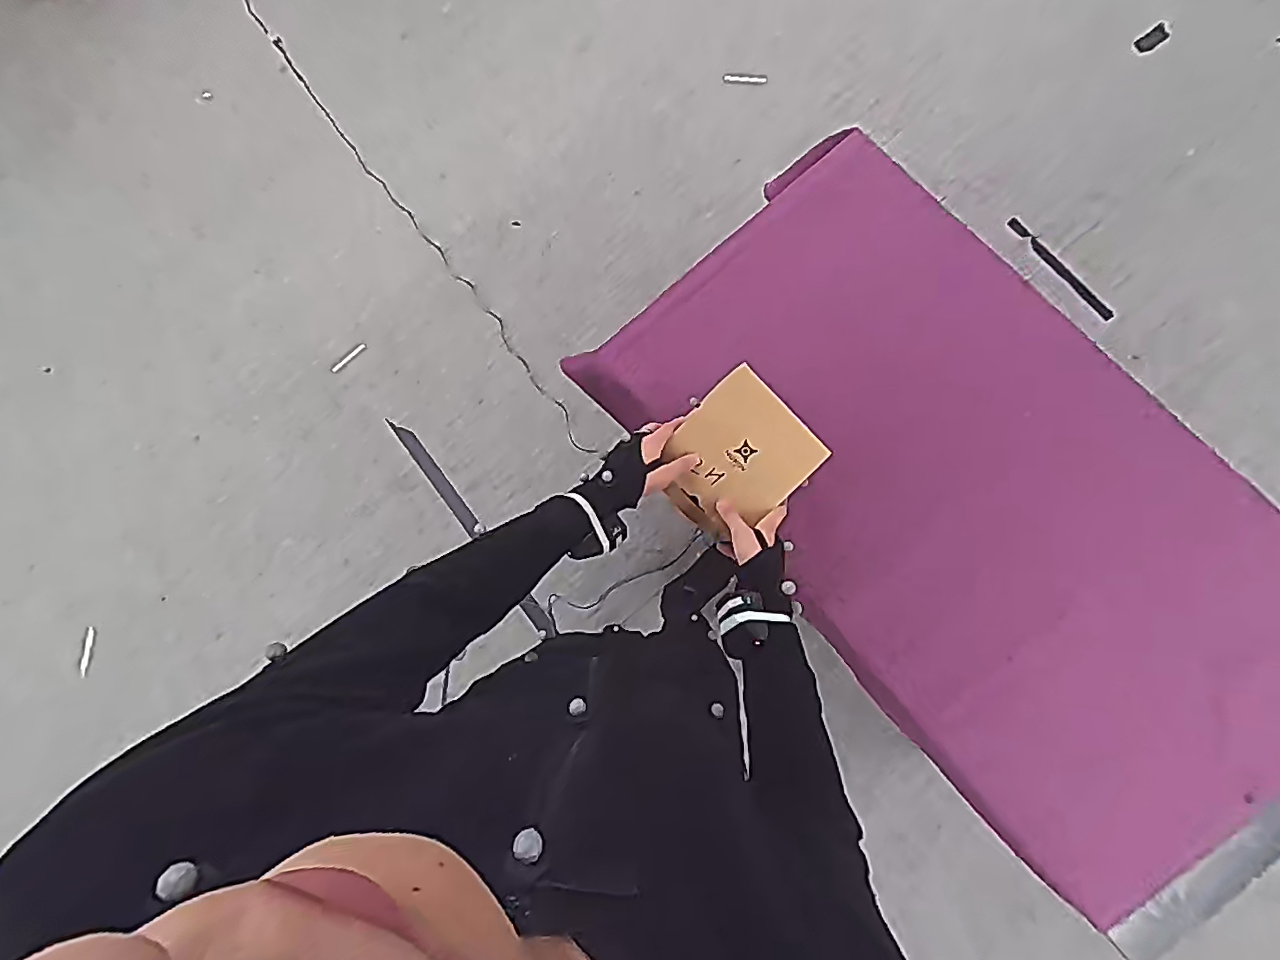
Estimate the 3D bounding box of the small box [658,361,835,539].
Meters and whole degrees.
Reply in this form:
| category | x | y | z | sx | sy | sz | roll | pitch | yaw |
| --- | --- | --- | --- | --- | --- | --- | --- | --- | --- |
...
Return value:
| category | x | y | z | sx | sy | sz | roll | pitch | yaw |
| --- | --- | --- | --- | --- | --- | --- | --- | --- | --- |
| small box | 0.137 | -0.044 | 0.779 | 0.179 | 0.176 | 0.168 | -44 | 92 | 3 |
